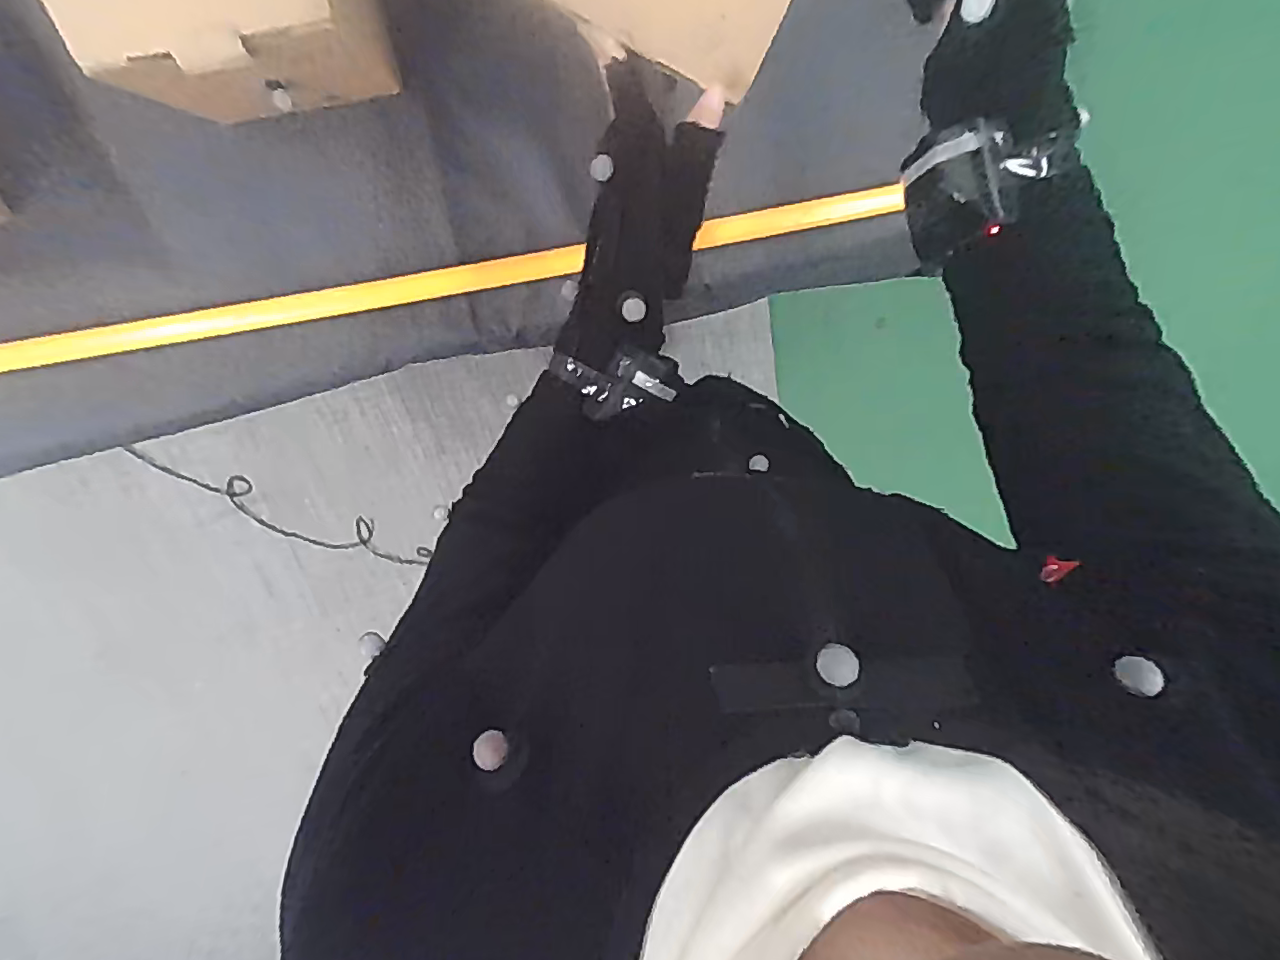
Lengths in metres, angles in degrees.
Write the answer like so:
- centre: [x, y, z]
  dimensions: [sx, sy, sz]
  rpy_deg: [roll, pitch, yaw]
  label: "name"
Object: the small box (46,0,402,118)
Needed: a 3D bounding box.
- centre: [-0.300, -0.383, 0.386]
  dimensions: [0.168, 0.176, 0.179]
  rpy_deg: [-14, 114, 1]
  label: "small box"
